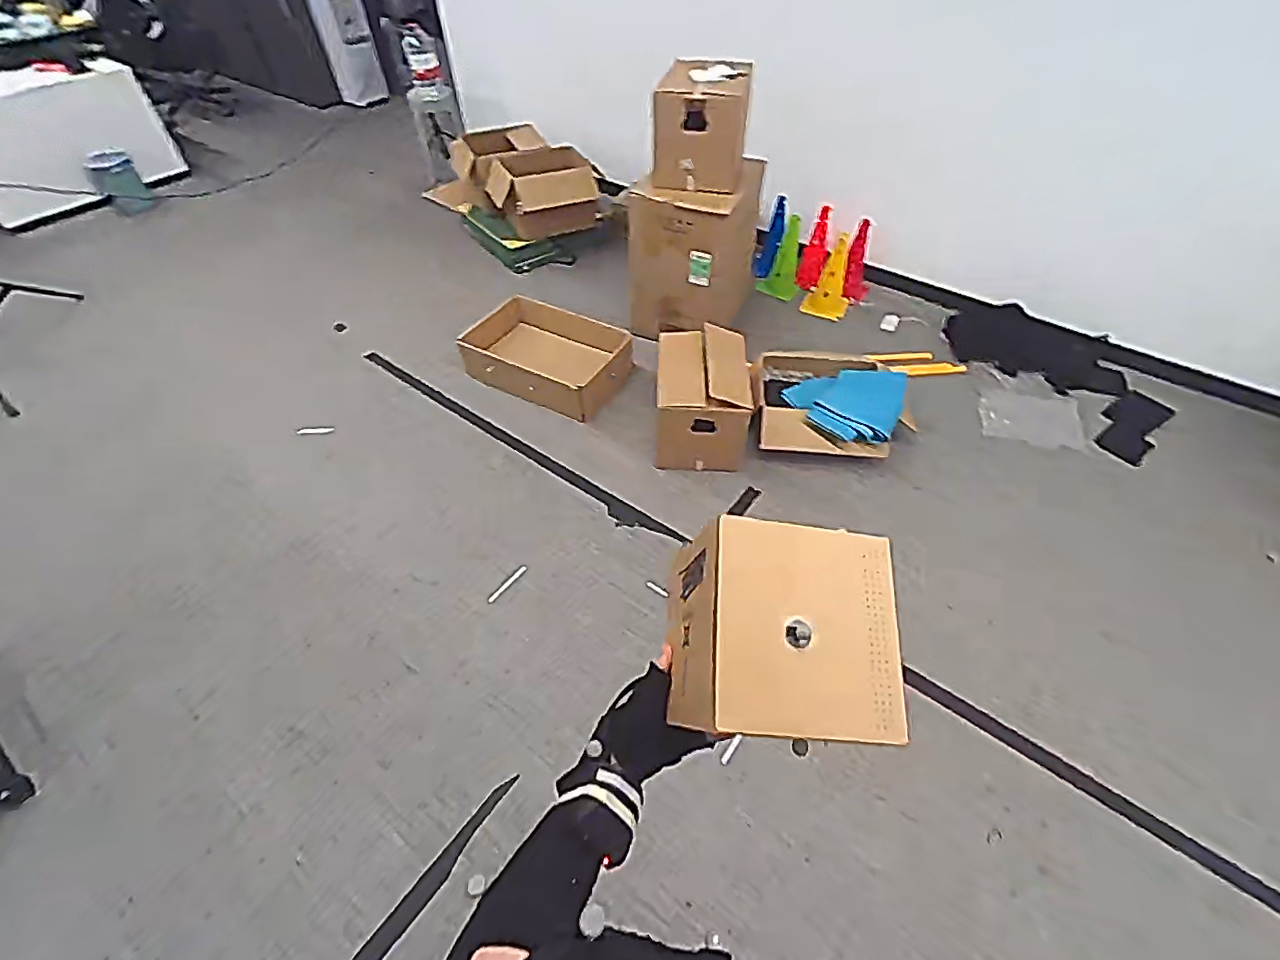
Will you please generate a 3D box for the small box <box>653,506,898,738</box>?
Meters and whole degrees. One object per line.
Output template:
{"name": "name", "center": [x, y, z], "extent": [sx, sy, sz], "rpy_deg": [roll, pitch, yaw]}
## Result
{"name": "small box", "center": [0.117, 0.141, 0.518], "extent": [0.176, 0.168, 0.179], "rpy_deg": [7, 67, -9]}
